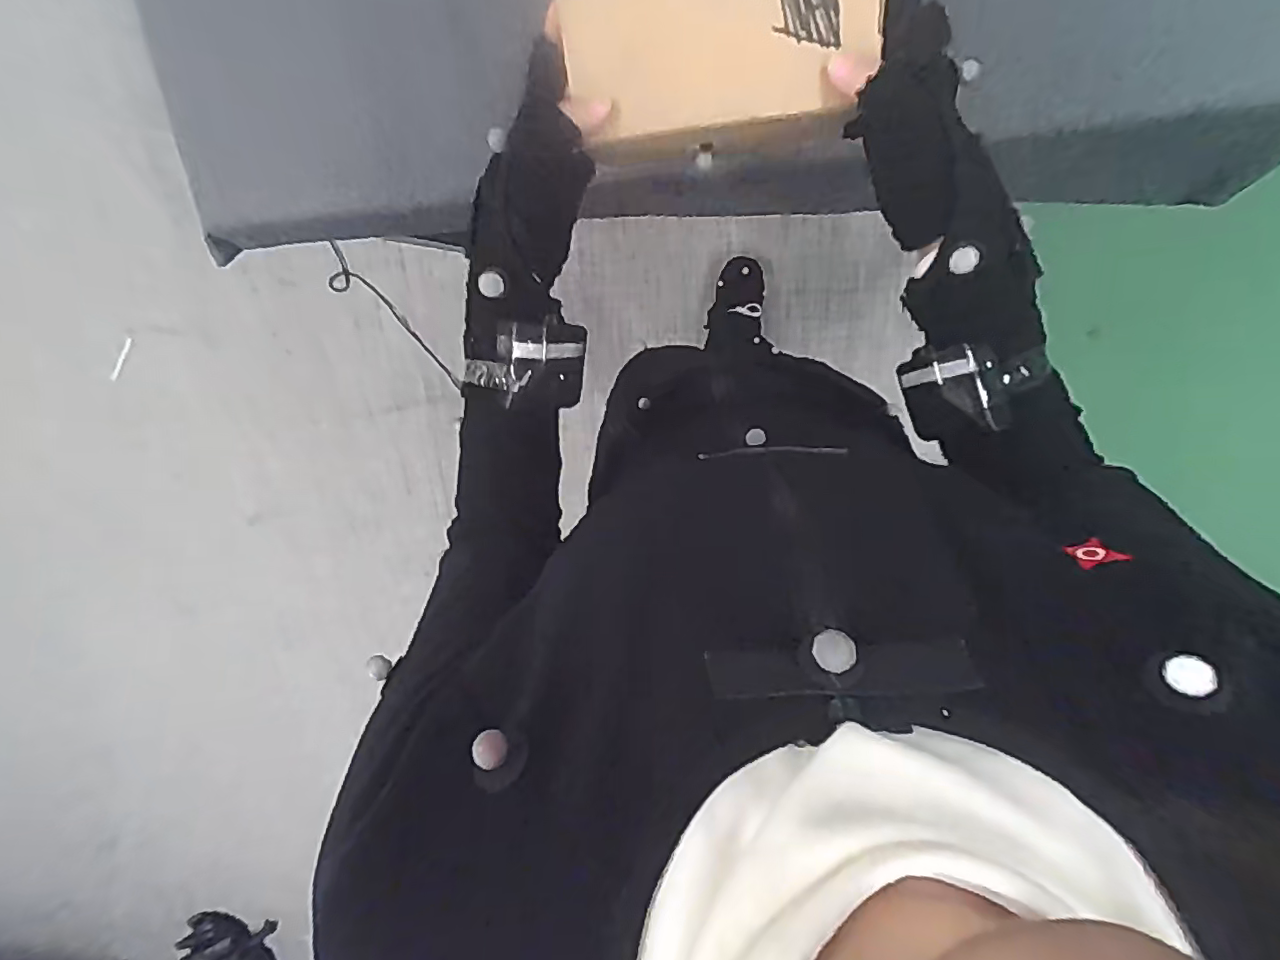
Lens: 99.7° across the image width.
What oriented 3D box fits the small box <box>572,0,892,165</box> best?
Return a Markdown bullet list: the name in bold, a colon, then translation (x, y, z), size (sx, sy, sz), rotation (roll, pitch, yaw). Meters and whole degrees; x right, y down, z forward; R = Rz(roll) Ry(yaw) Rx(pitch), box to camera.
- **small box**: translation (0.047, -0.323, 0.358), size (0.179, 0.176, 0.168), rotation (-9, 114, 6)
